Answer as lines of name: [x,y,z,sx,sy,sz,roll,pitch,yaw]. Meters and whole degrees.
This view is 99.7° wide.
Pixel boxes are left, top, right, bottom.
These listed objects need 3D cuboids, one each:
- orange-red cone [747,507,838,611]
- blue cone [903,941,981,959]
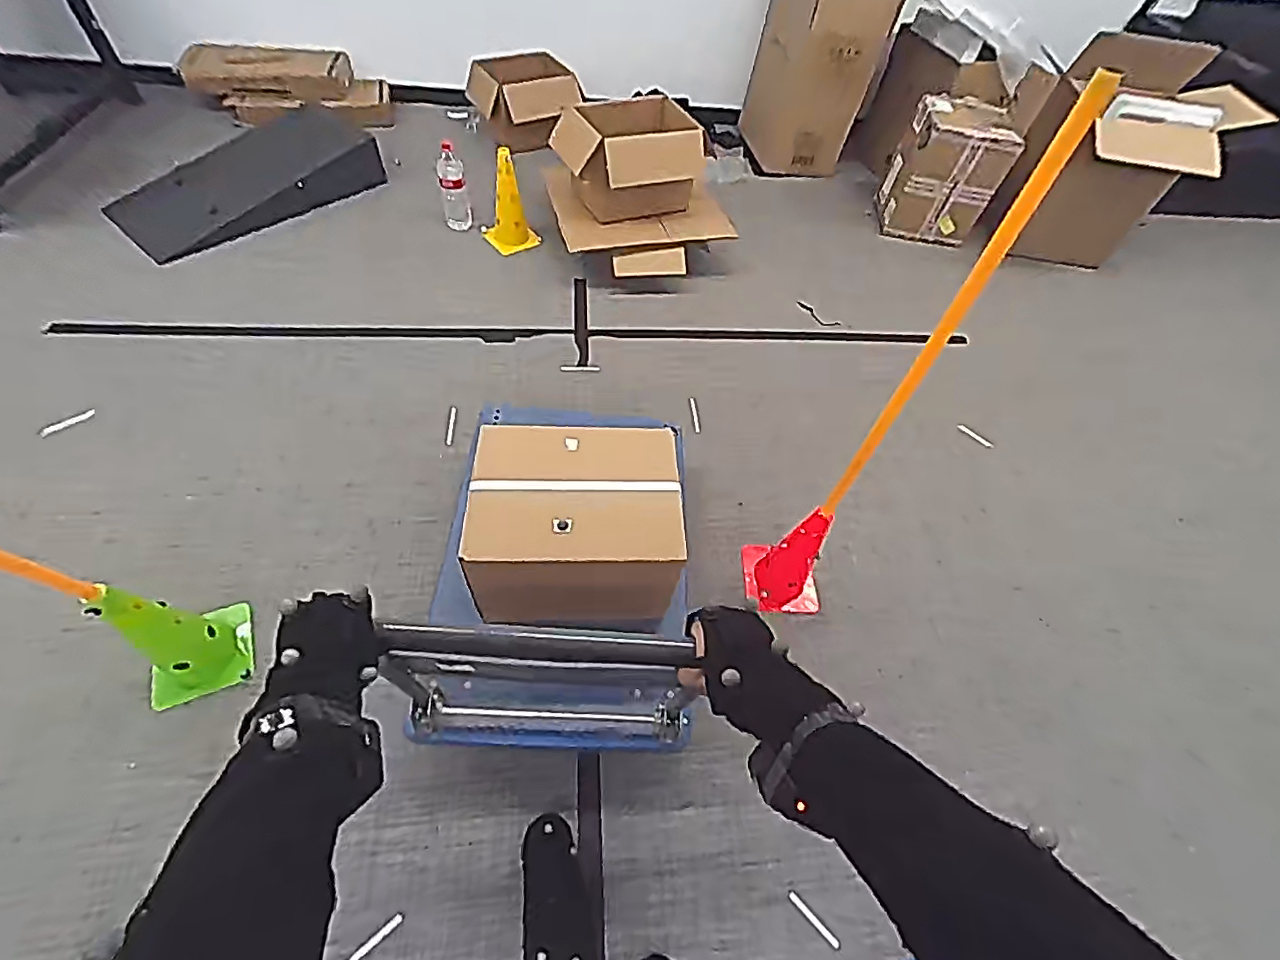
orange-red cone: [0.419,0.174,1.378,0.199,0.360,0.198,5,55,-4]
blue cone: [0.620,0.920,0.895,0.193,0.380,0.192,-4,54,-10]
